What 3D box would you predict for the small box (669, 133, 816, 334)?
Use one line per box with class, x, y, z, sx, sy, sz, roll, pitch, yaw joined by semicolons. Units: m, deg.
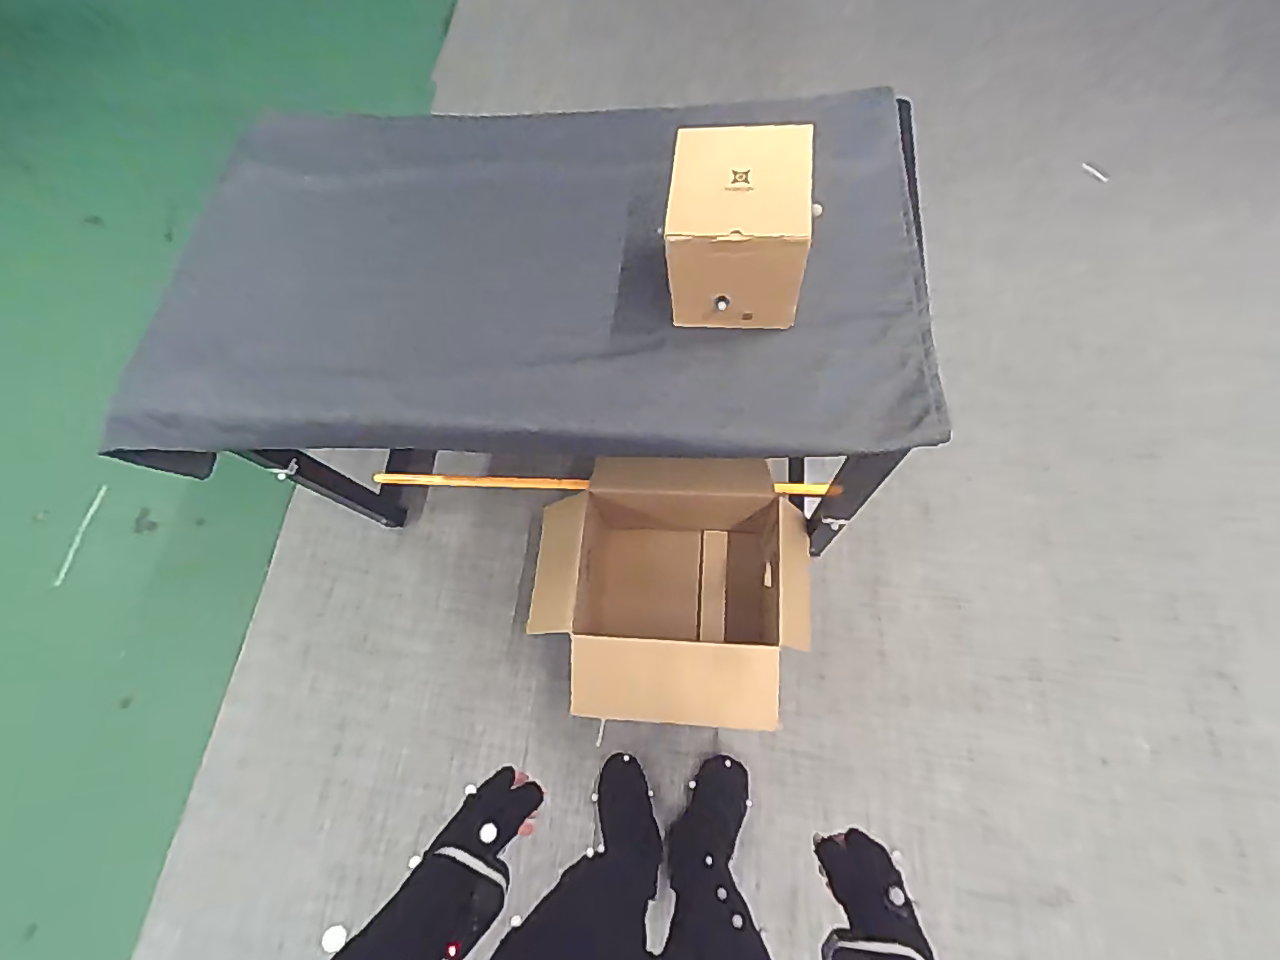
small box;0.131;-0.318;0.711;0.168;0.176;0.179;4;70;9
